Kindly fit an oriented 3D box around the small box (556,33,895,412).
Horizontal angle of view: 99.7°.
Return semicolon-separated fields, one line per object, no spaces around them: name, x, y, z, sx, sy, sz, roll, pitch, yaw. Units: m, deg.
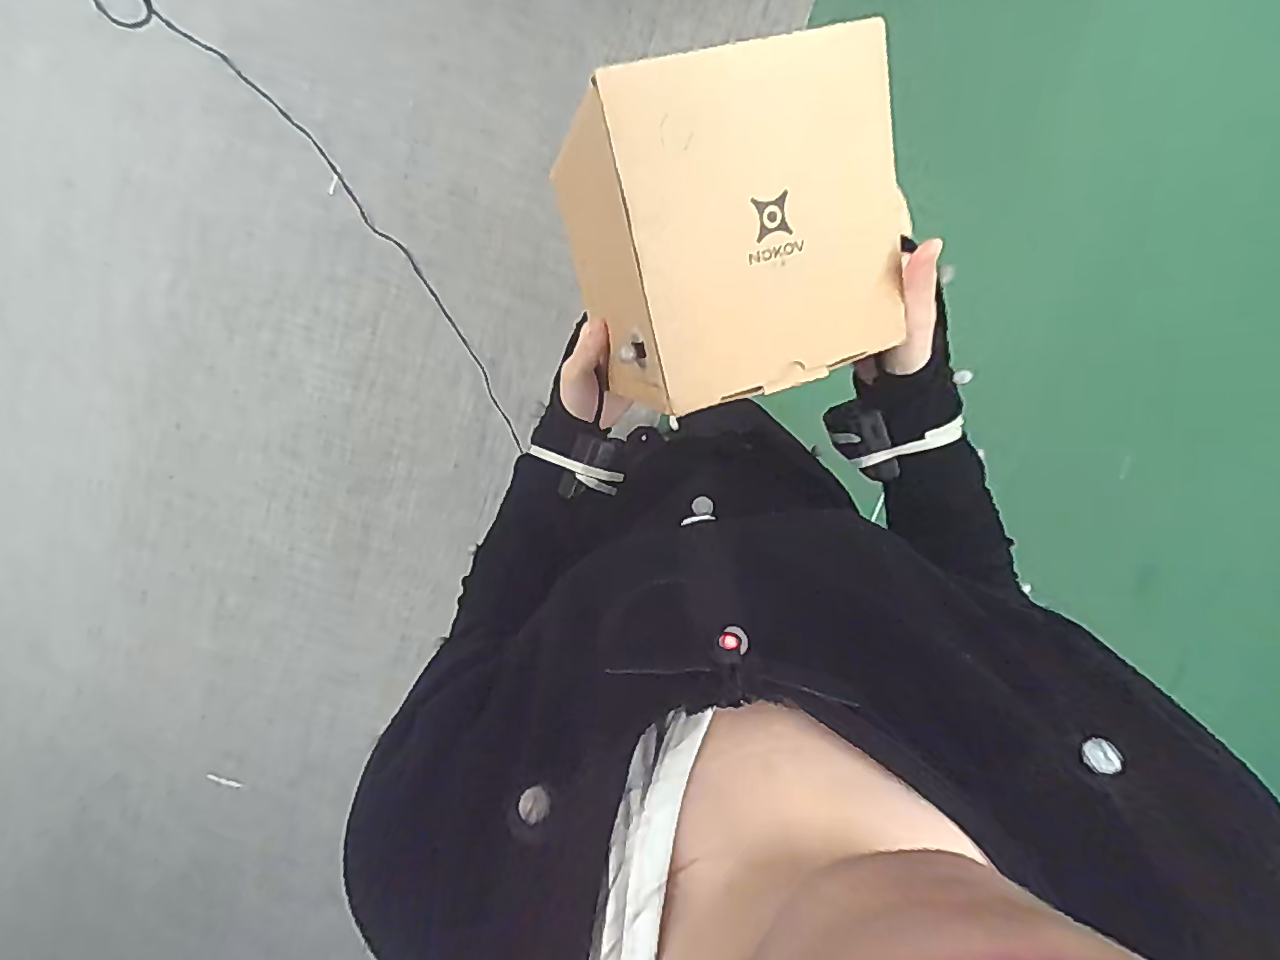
small box;0.048;-0.163;0.384;0.168;0.176;0.179;-19;110;-10
